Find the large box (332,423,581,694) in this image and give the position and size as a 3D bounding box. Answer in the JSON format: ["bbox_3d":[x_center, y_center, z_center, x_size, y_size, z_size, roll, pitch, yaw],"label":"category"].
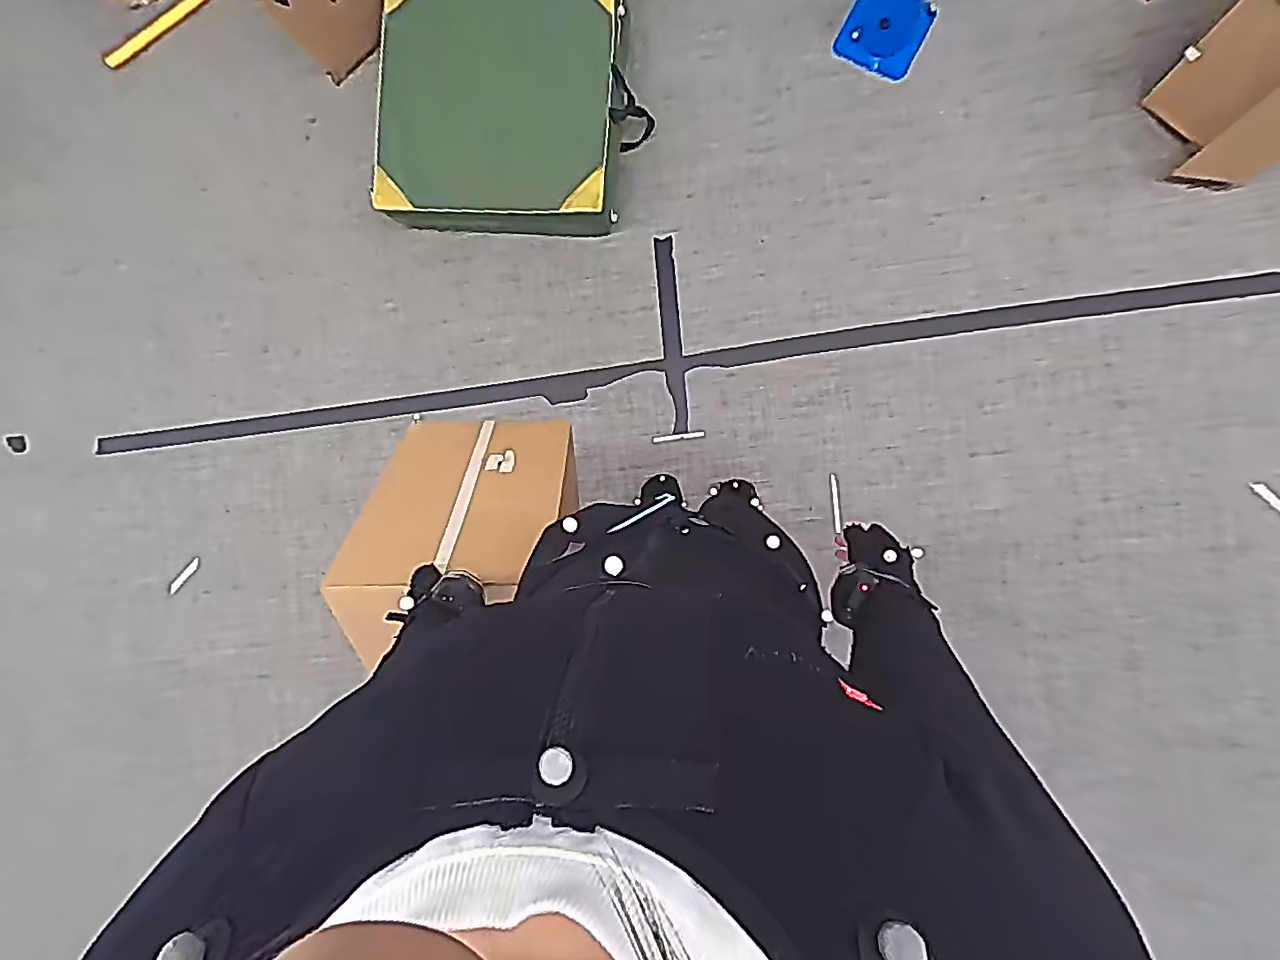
[{"bbox_3d":[-0.287,0.134,1.004,0.320,0.408,0.320,1,129,0],"label":"large box"}]
